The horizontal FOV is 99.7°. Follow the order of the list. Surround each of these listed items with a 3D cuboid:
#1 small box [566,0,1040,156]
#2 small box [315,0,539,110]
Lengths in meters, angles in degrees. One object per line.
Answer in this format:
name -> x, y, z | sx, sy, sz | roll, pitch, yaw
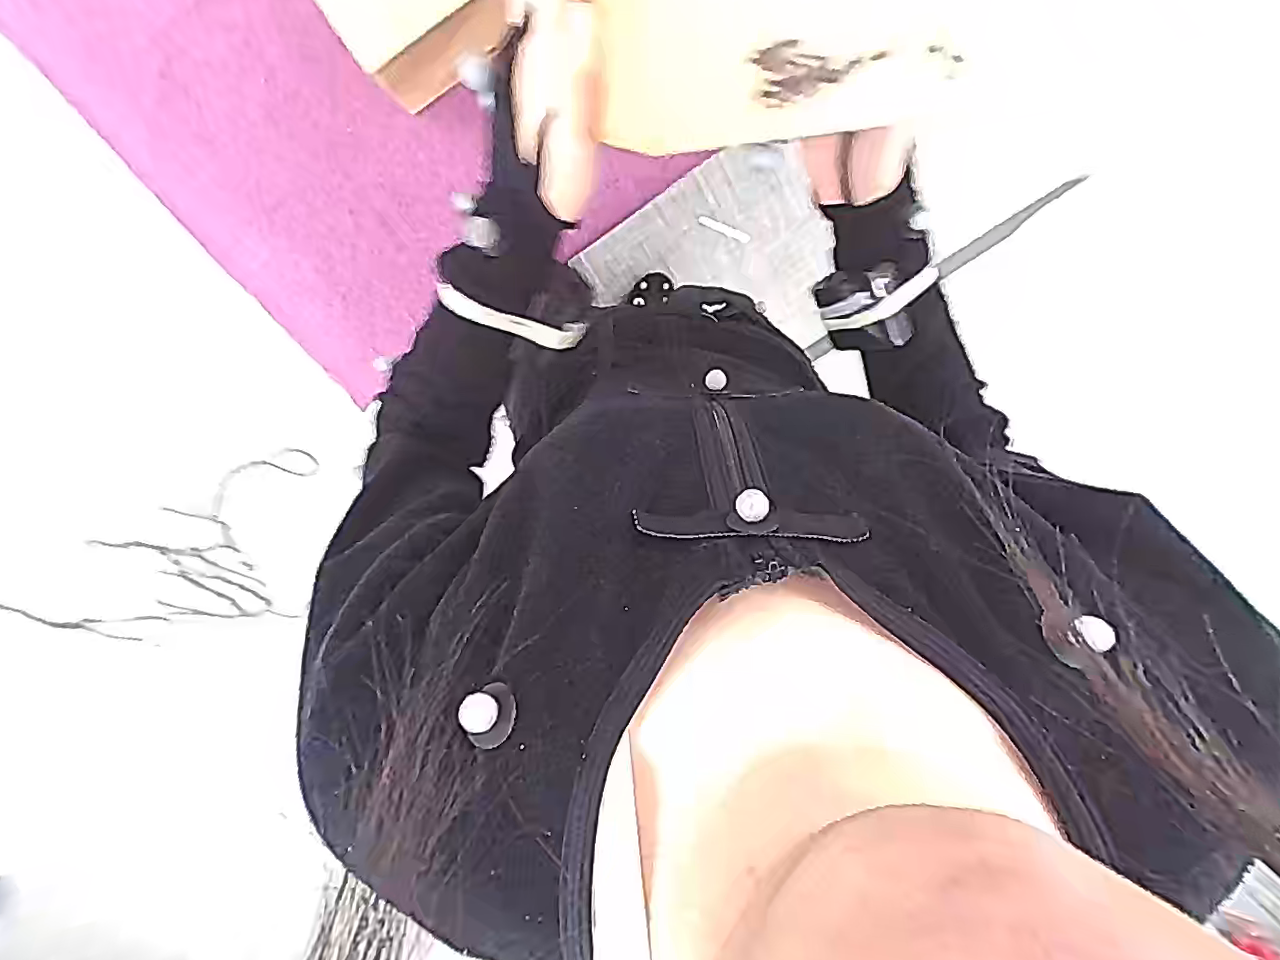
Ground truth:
small box -> 0.058, -0.258, 0.243 | 0.168, 0.176, 0.179 | -14, 127, -12
small box -> -0.199, -0.450, 0.445 | 0.168, 0.176, 0.179 | -32, 116, 6
